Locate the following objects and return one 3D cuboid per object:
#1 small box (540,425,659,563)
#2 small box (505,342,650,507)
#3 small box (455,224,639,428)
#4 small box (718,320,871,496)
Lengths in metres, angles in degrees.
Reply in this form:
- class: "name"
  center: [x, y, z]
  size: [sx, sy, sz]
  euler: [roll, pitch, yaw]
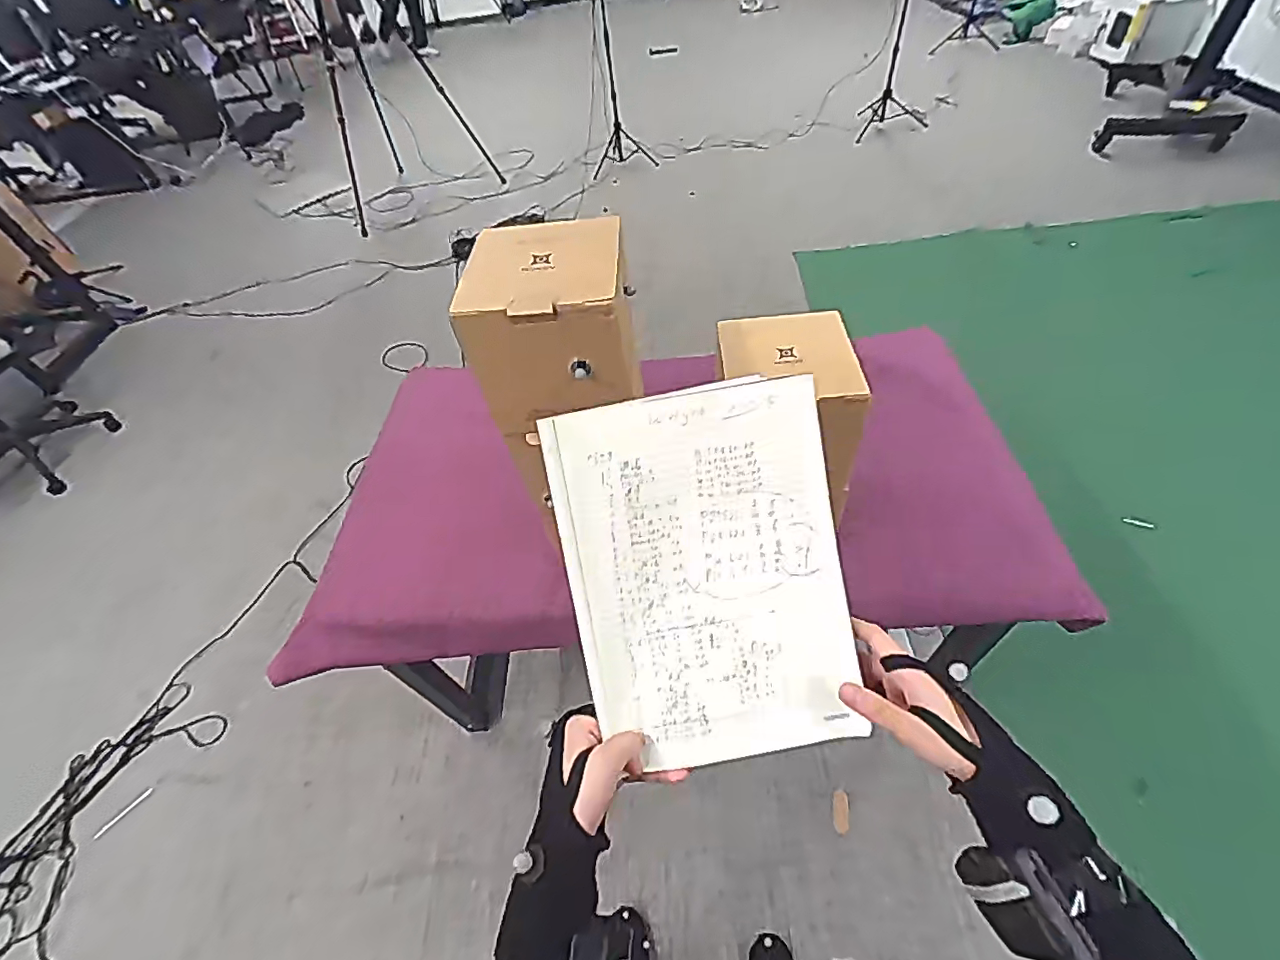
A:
- class: "small box"
  center: [-0.057, 0.028, 0.895]
  size: [0.168, 0.176, 0.179]
  euler: [-3, 51, 4]
- class: "small box"
  center: [-0.074, -0.072, 0.765]
  size: [0.168, 0.176, 0.179]
  euler: [-4, 49, 5]
- class: "small box"
  center: [-0.092, -0.173, 0.638]
  size: [0.168, 0.176, 0.179]
  euler: [-2, 49, 5]
- class: "small box"
  center: [0.197, -0.097, 0.749]
  size: [0.168, 0.176, 0.179]
  euler: [-3, 49, 5]
